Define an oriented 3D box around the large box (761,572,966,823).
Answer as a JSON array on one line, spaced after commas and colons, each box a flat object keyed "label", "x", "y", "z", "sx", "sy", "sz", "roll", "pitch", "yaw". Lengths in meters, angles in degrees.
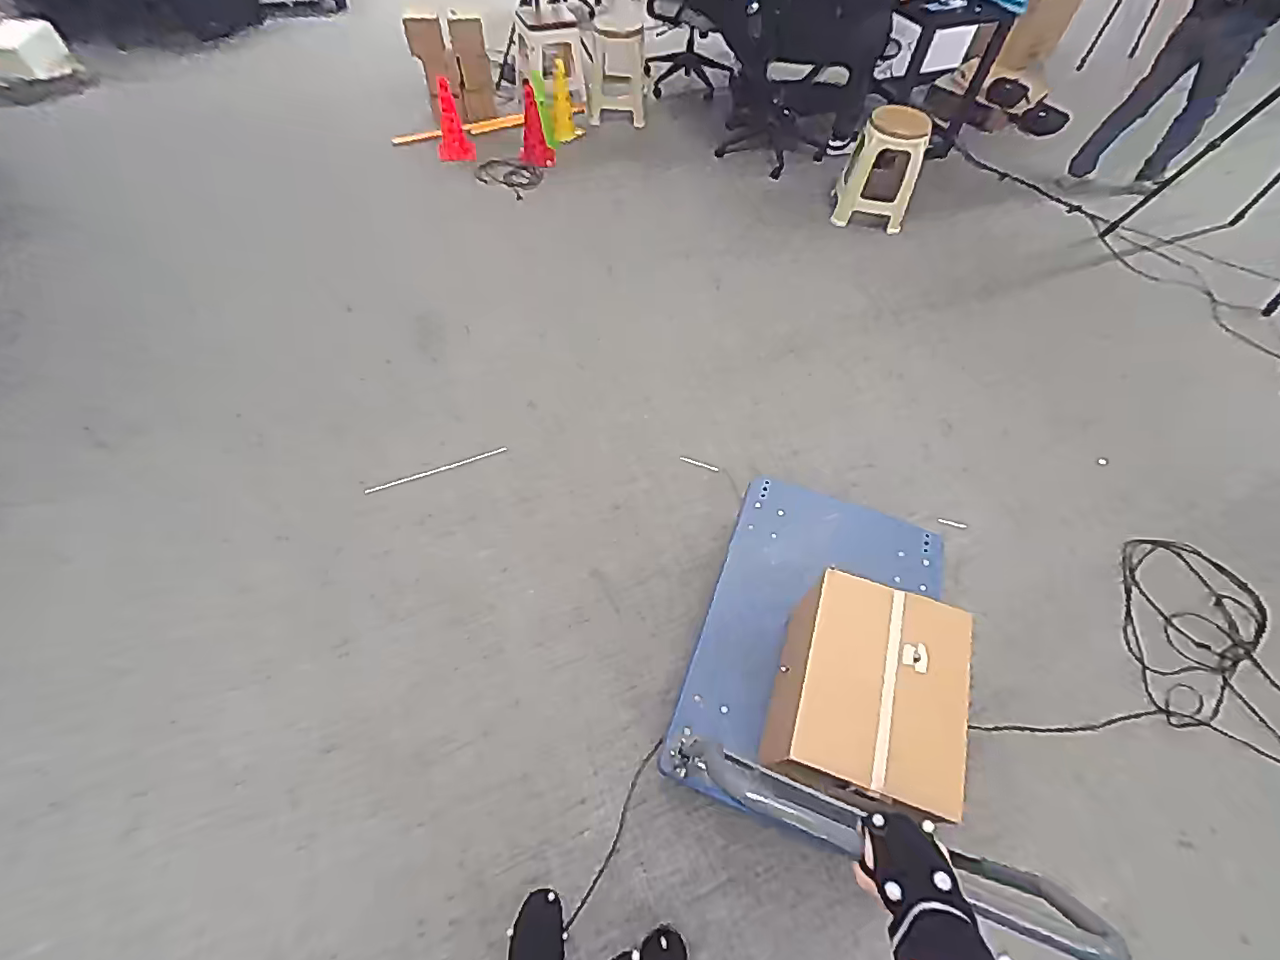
[{"label": "large box", "x": 0.483, "y": 0.483, "z": 1.196, "sx": 0.320, "sy": 0.320, "sz": 0.408, "roll": 18, "pitch": 60, "yaw": 8}]
